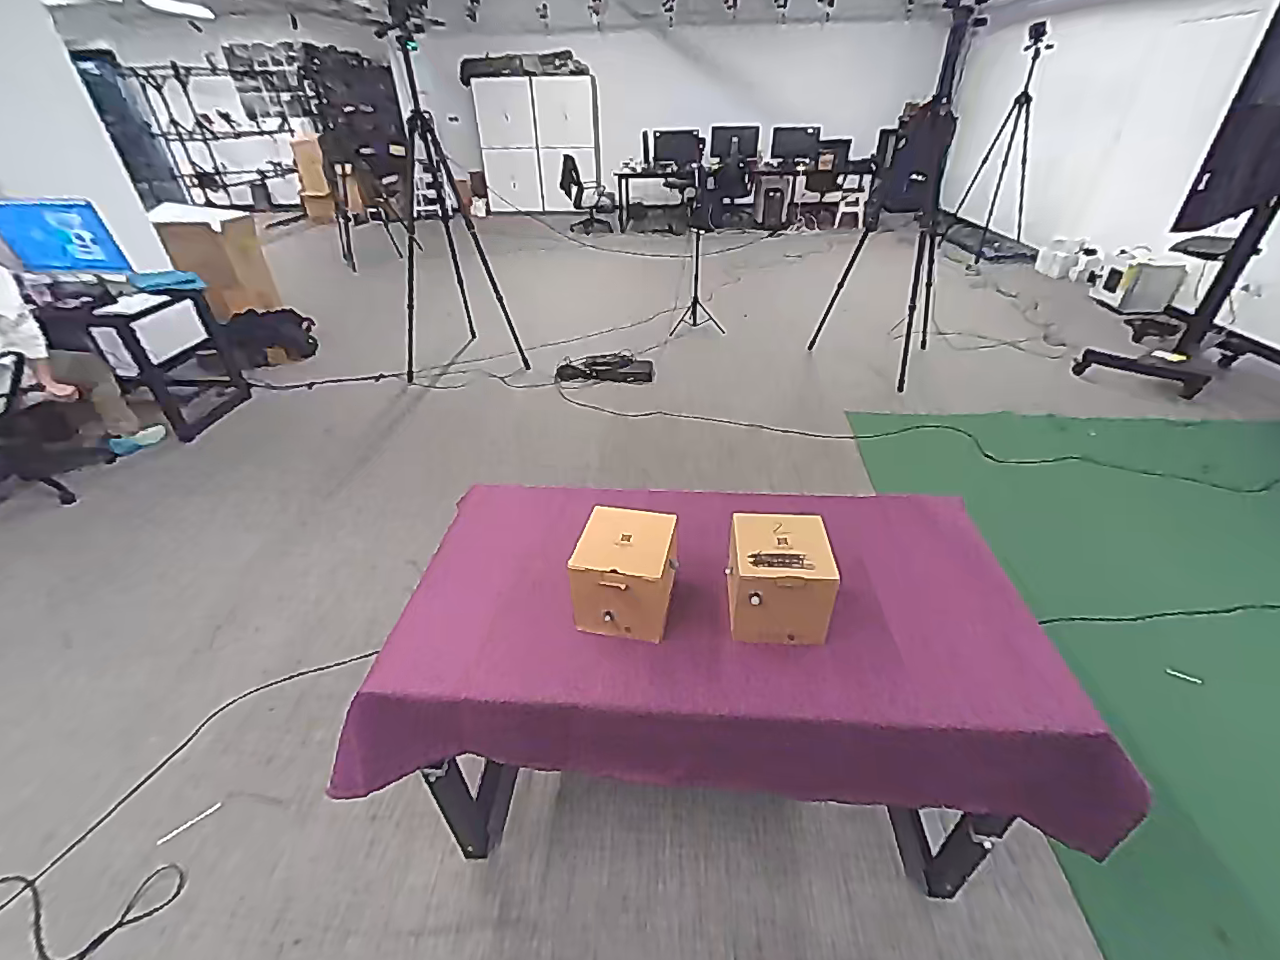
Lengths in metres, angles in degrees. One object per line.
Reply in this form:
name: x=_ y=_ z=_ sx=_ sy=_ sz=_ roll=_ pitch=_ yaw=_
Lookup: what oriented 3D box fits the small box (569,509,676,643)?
small box: x=-0.027 y=0.181 z=1.041 sx=0.168 sy=0.176 sz=0.179 roll=6 pitch=37 yaw=11
